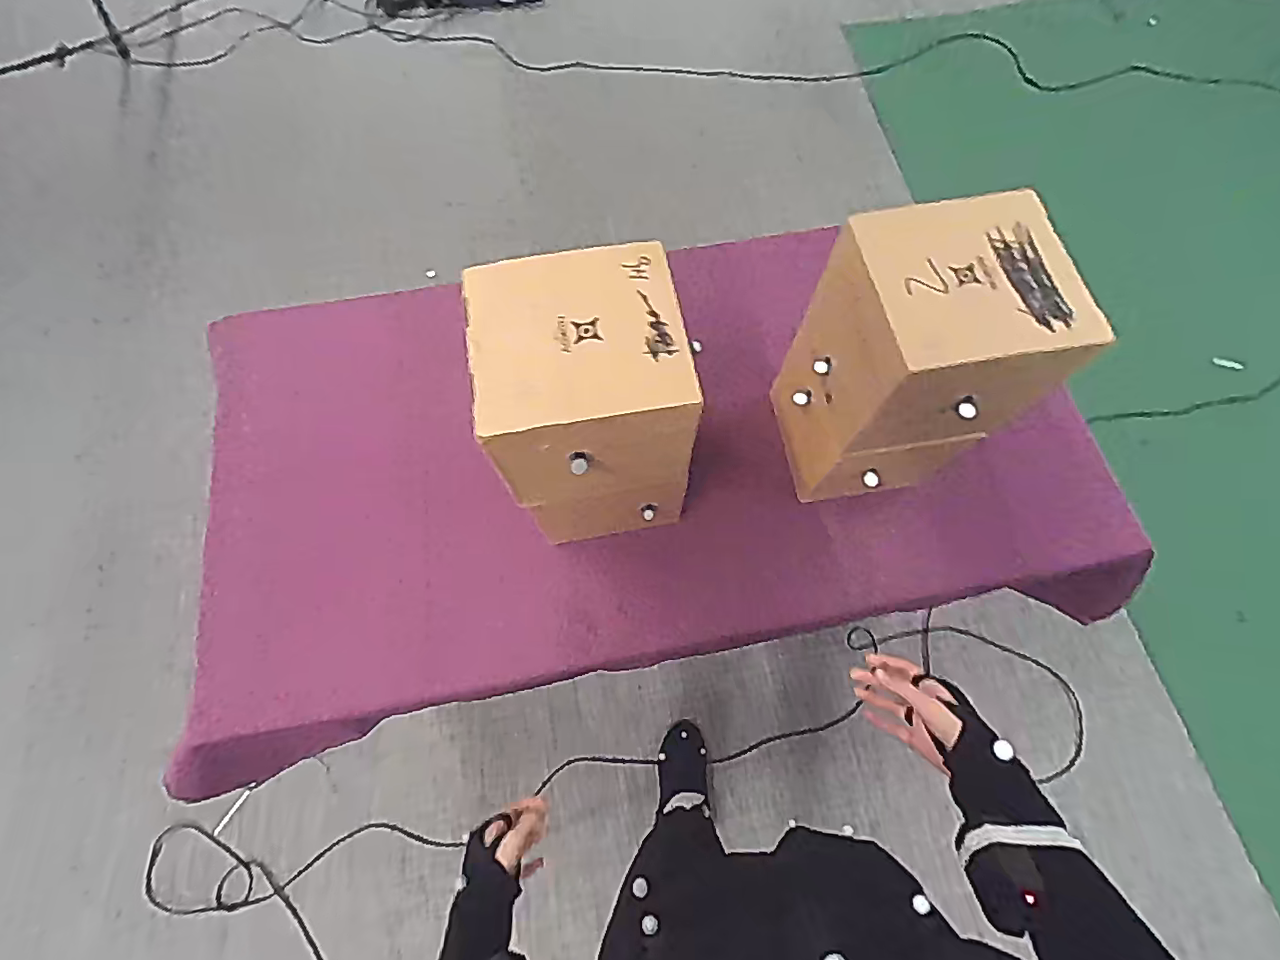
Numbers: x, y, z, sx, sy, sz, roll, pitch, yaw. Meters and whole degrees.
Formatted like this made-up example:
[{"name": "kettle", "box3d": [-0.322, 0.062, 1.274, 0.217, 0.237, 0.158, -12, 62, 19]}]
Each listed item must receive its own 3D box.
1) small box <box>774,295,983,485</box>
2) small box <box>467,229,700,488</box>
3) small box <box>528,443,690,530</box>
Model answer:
[{"name": "small box", "box3d": [0.285, -0.102, 0.690, 0.168, 0.176, 0.179, -9, 70, -3]}, {"name": "small box", "box3d": [-0.049, -0.102, 0.514, 0.179, 0.176, 0.168, -10, 70, -3]}, {"name": "small box", "box3d": [-0.045, -0.048, 0.669, 0.179, 0.176, 0.168, -10, 69, -3]}]
